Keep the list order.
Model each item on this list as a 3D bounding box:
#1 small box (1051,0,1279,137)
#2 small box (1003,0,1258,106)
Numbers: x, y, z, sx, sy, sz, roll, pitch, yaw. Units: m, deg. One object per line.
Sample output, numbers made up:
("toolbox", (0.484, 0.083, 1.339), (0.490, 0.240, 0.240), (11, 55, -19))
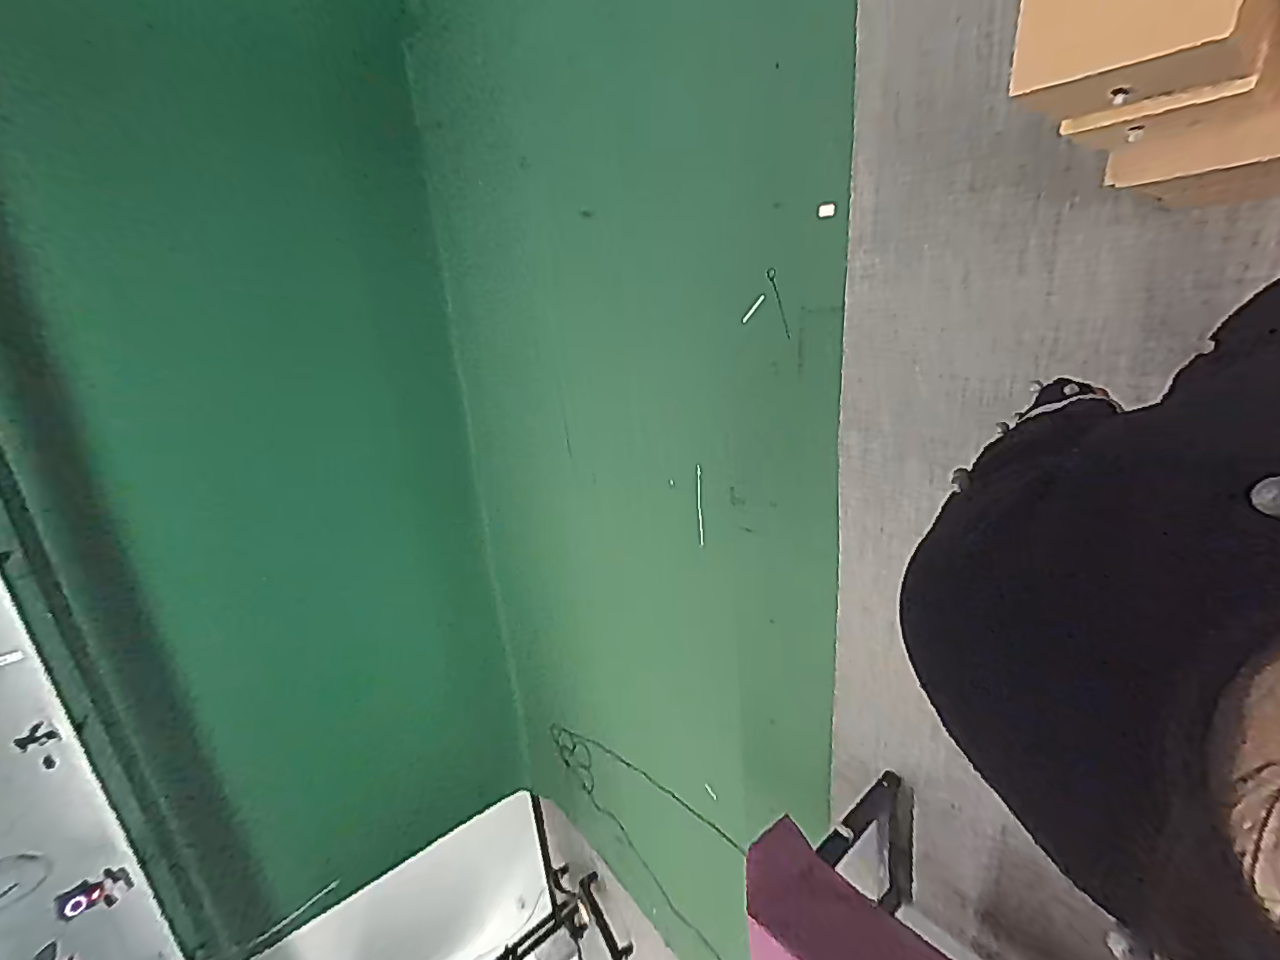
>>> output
("small box", (0.621, -0.523, 0.636), (0.168, 0.176, 0.179), (17, 118, 47))
("small box", (0.494, -0.494, 0.534), (0.168, 0.176, 0.179), (19, 119, 46))
